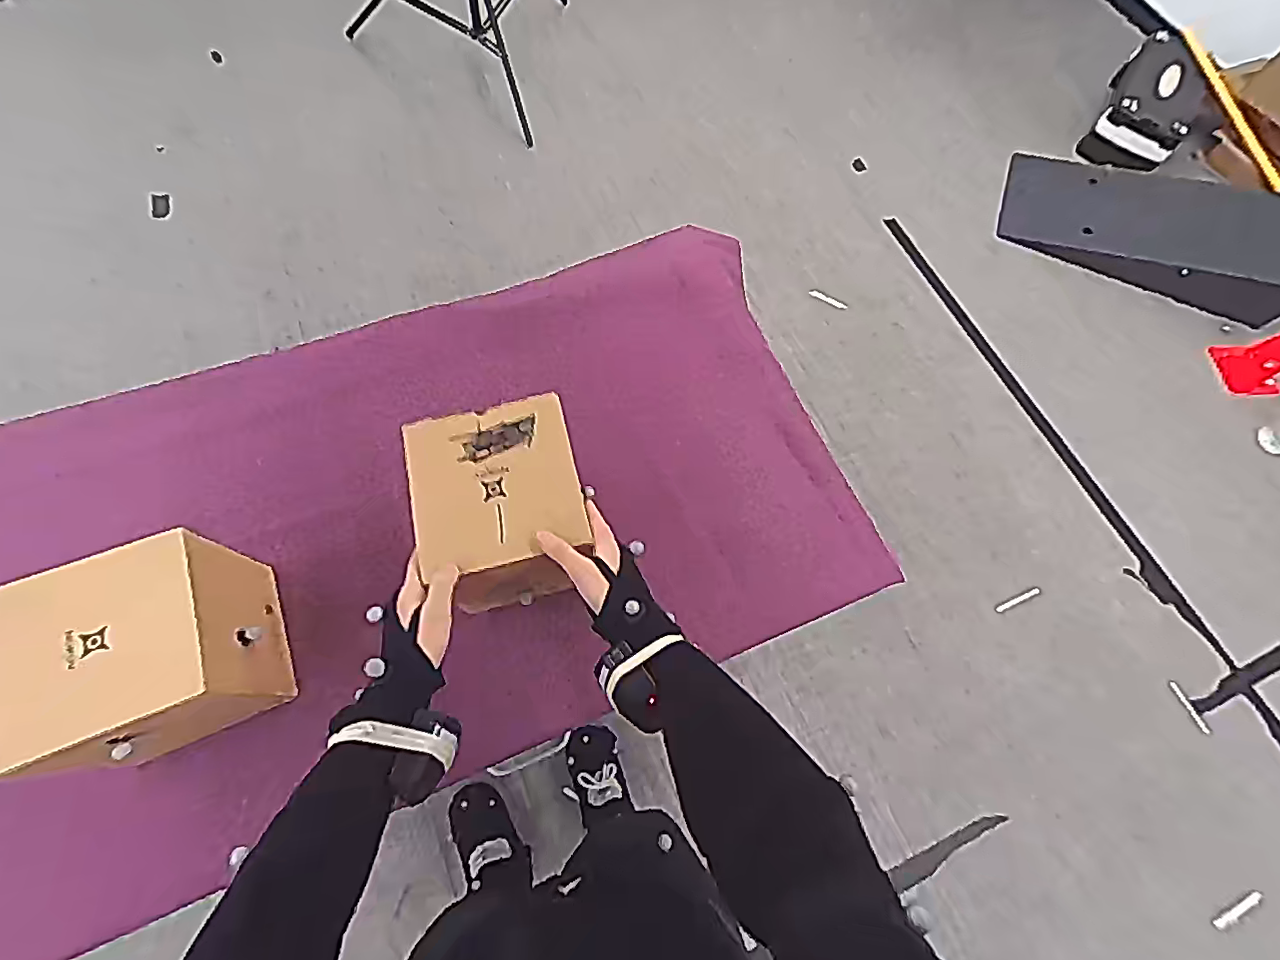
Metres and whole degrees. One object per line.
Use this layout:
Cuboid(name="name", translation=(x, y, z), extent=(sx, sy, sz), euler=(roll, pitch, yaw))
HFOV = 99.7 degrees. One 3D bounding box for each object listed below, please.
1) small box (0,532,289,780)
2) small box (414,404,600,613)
Cuboid(name="small box", translation=(-0.494, 0.176, 0.555), extent=(0.179, 0.176, 0.168), euler=(-21, 71, -12))
Cuboid(name="small box", translation=(-0.147, 0.040, 0.631), extent=(0.168, 0.176, 0.179), euler=(-13, 68, -6))
